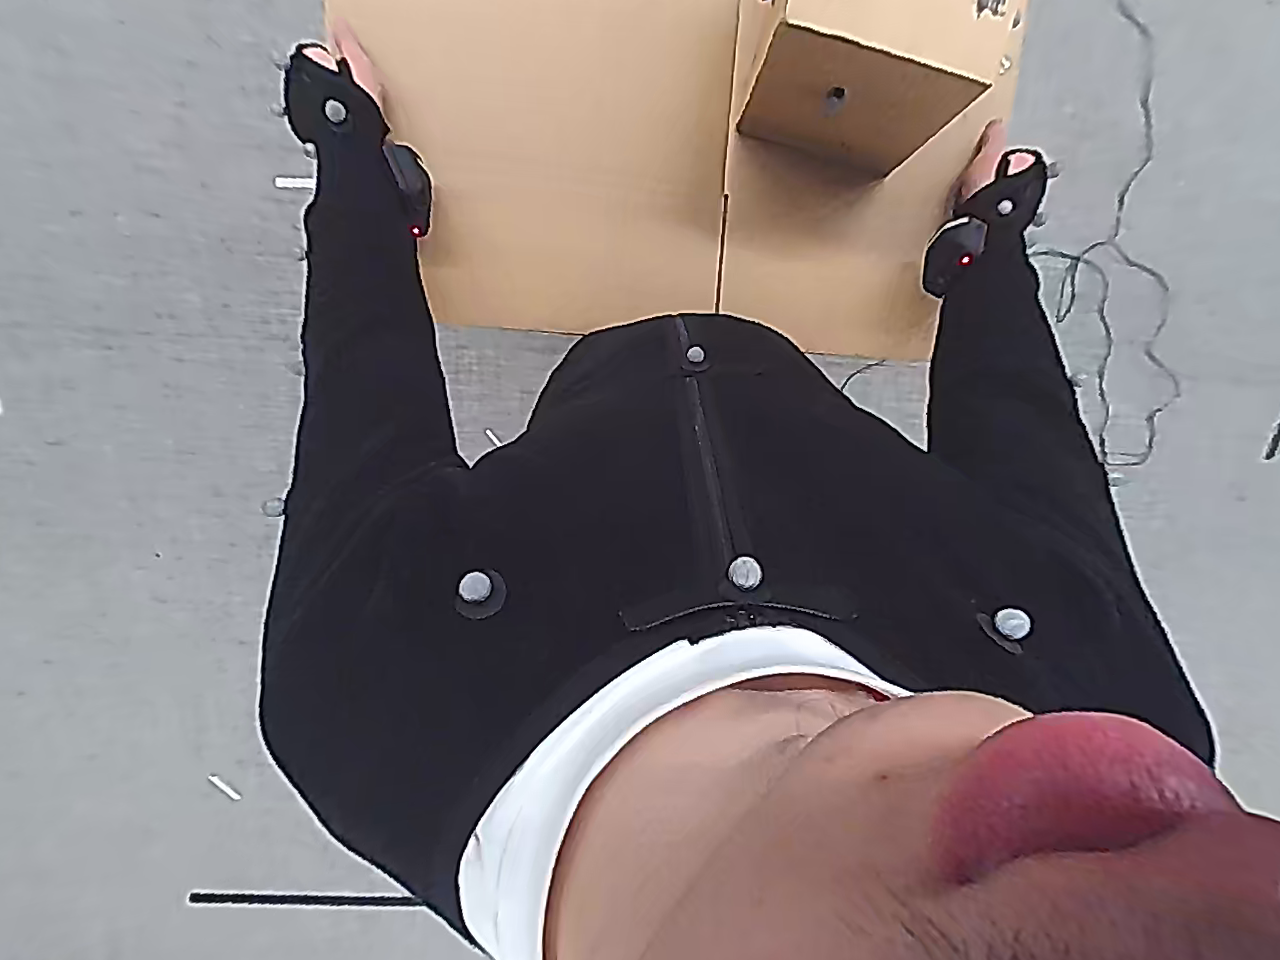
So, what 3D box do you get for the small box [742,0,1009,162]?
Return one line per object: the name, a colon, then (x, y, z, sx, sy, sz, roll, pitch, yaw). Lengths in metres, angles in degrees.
small box: (0.205, -0.421, 0.489, 0.179, 0.176, 0.168, 14, 98, -2)
